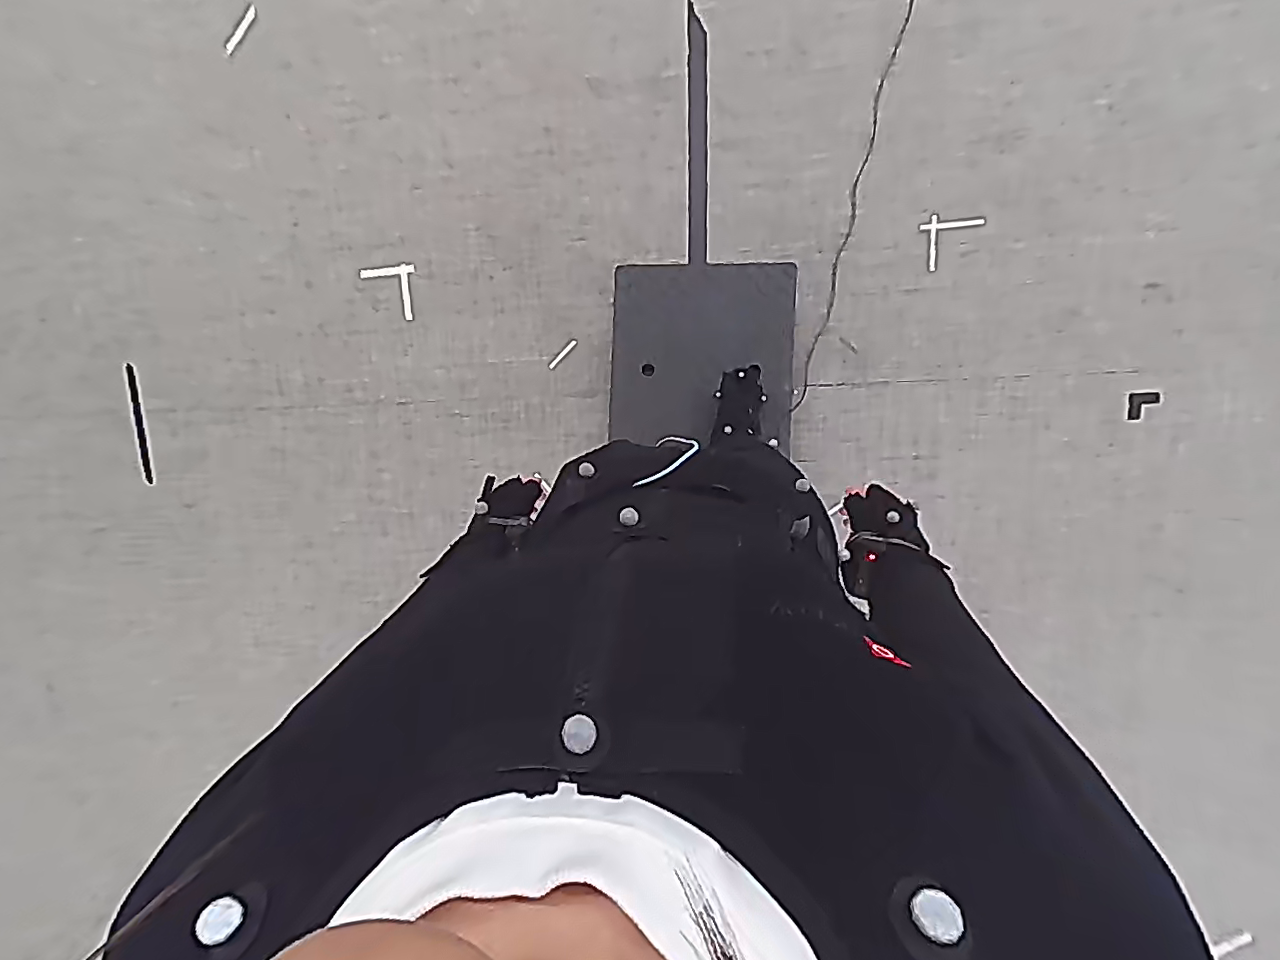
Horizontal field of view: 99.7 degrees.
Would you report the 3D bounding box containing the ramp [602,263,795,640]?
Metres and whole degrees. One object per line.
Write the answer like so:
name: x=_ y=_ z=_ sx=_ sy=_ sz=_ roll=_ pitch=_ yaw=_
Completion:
ramp: x=0.154 y=-0.086 z=1.455 sx=0.509 sy=0.206 sz=0.991 roll=1 pitch=98 yaw=9
